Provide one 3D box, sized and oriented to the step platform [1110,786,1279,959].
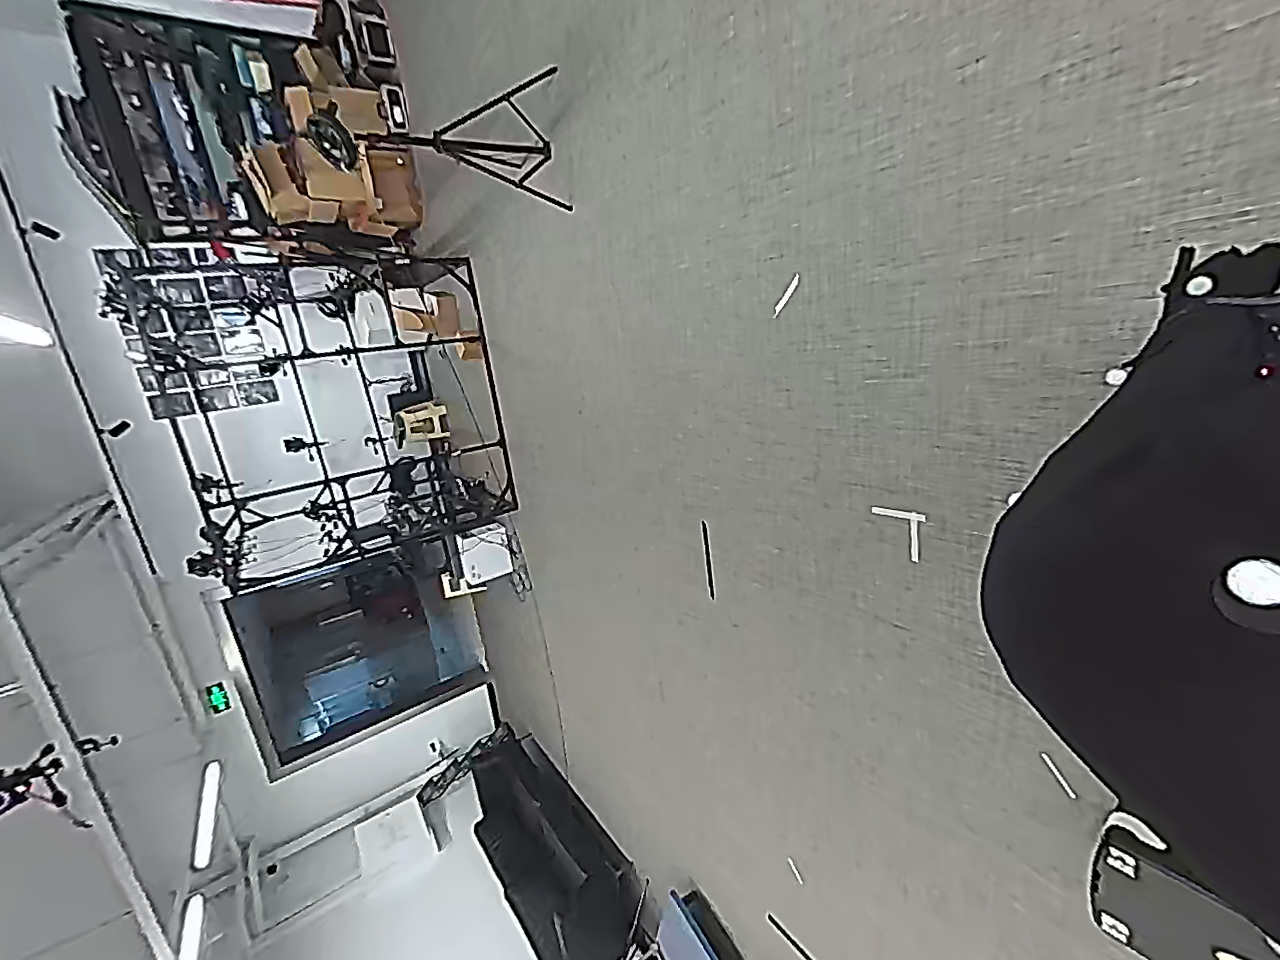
[{"bbox_3d":[1.336,0.918,1.016,0.684,0.204,0.286,14,116,56],"label":"step platform"}]
